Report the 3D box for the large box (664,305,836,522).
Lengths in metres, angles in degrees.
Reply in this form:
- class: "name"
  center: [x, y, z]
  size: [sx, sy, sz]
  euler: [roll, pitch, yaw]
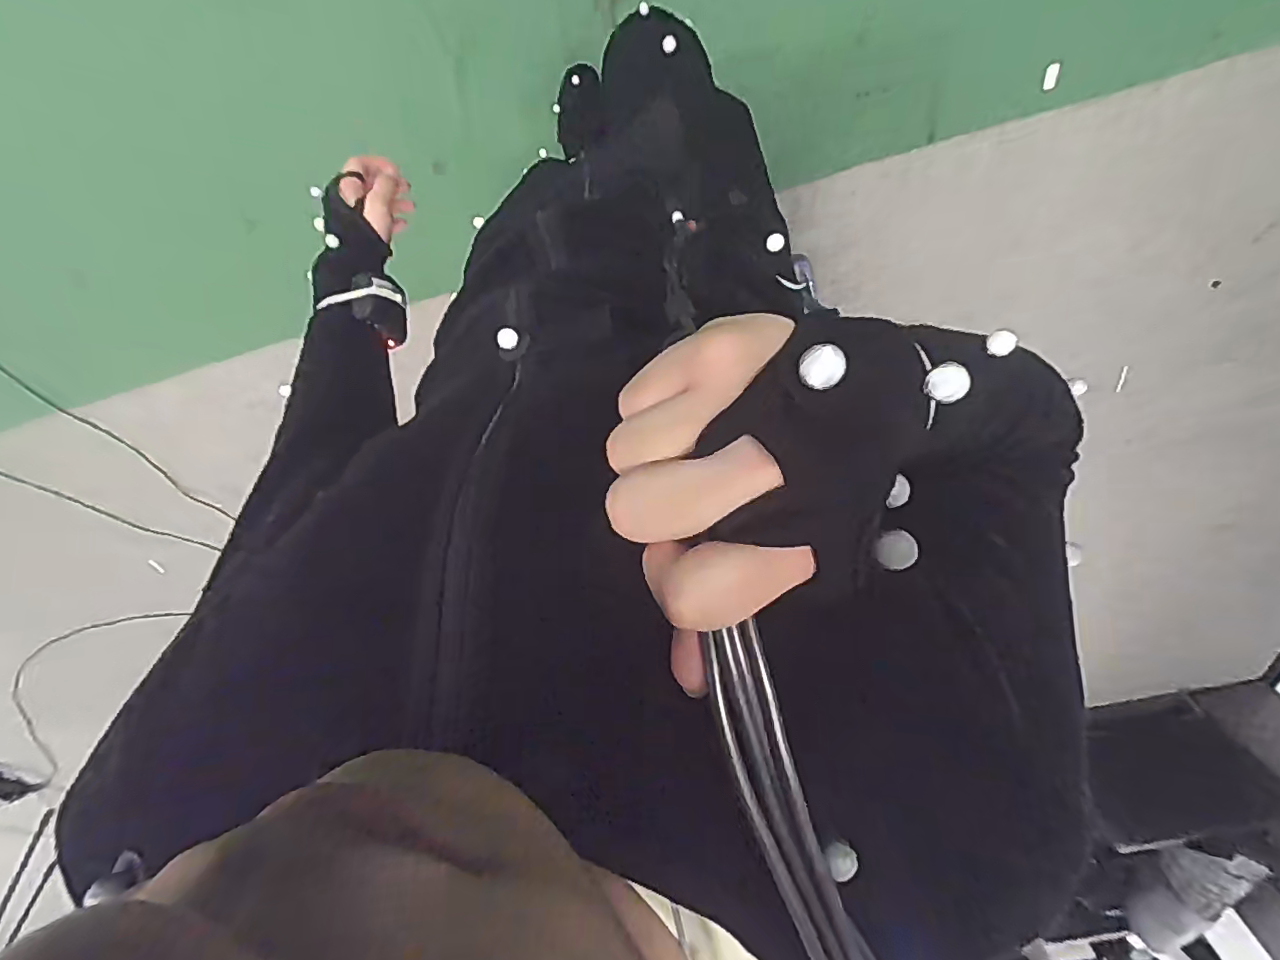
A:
- class: "large box"
  center: [0.278, -0.169, 1.390]
  size: [0.320, 0.320, 0.408]
  euler: [-17, 128, 7]
